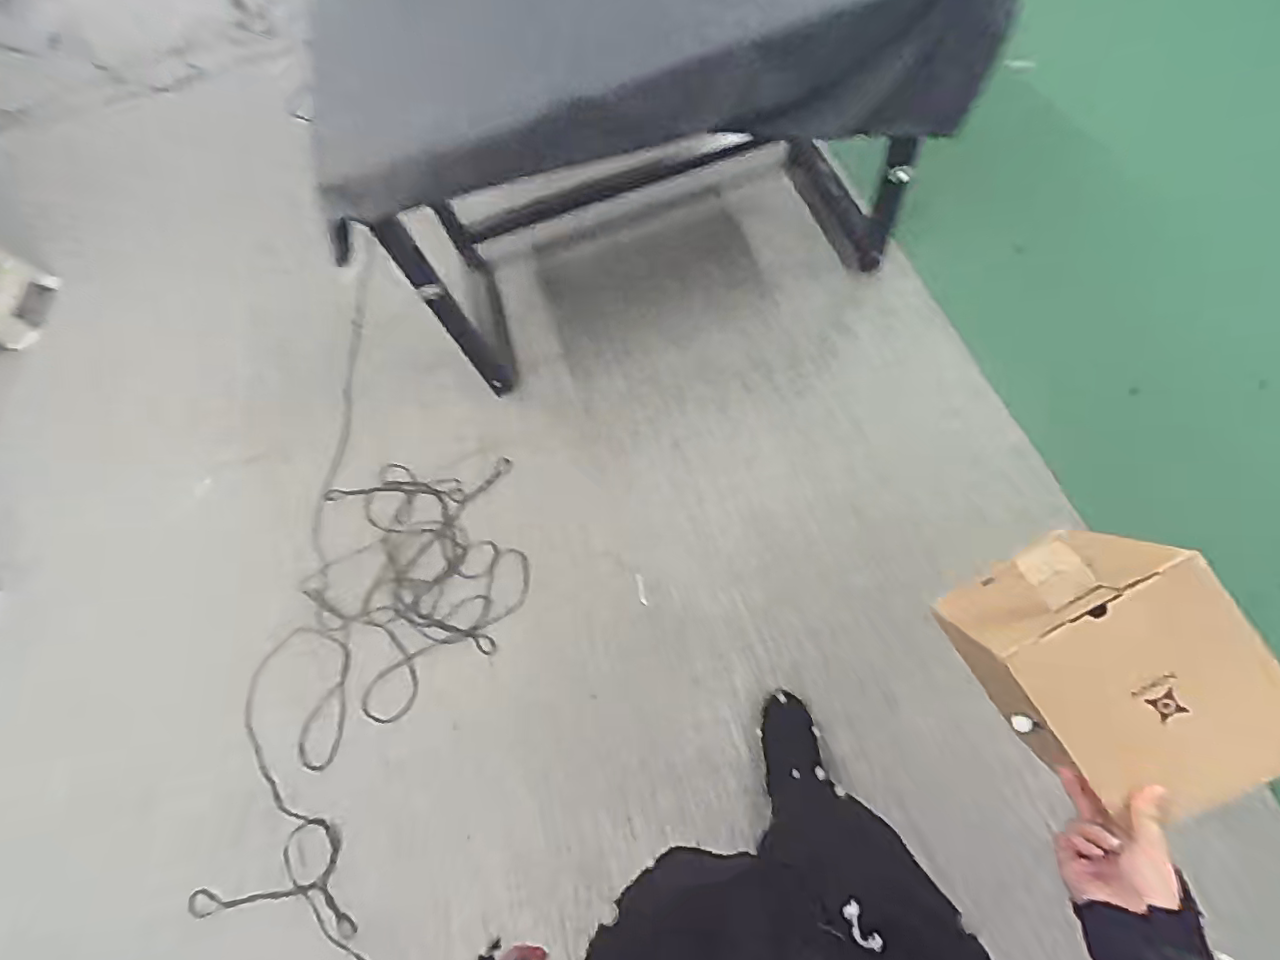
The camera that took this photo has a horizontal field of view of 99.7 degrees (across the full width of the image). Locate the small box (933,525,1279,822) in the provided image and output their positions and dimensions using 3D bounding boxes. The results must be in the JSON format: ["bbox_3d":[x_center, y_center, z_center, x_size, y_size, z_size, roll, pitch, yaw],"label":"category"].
[{"bbox_3d":[0.420,0.159,0.506,0.168,0.176,0.179,-34,85,7],"label":"small box"}]
